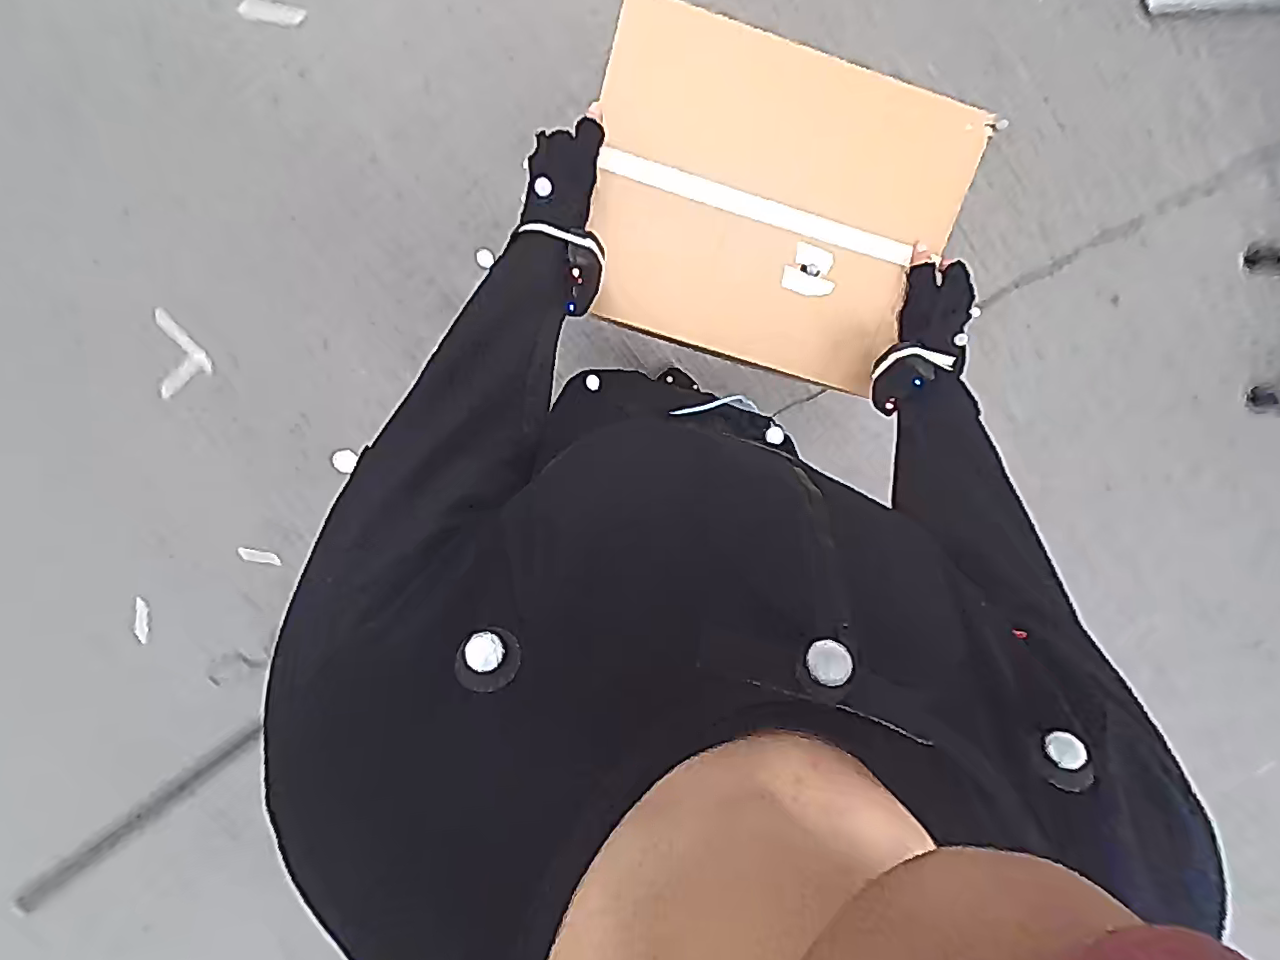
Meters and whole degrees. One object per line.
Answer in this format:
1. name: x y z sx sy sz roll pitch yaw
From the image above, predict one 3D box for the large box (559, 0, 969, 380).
1. large box: 0.125 -0.346 0.749 0.408 0.320 0.320 14 105 -6
